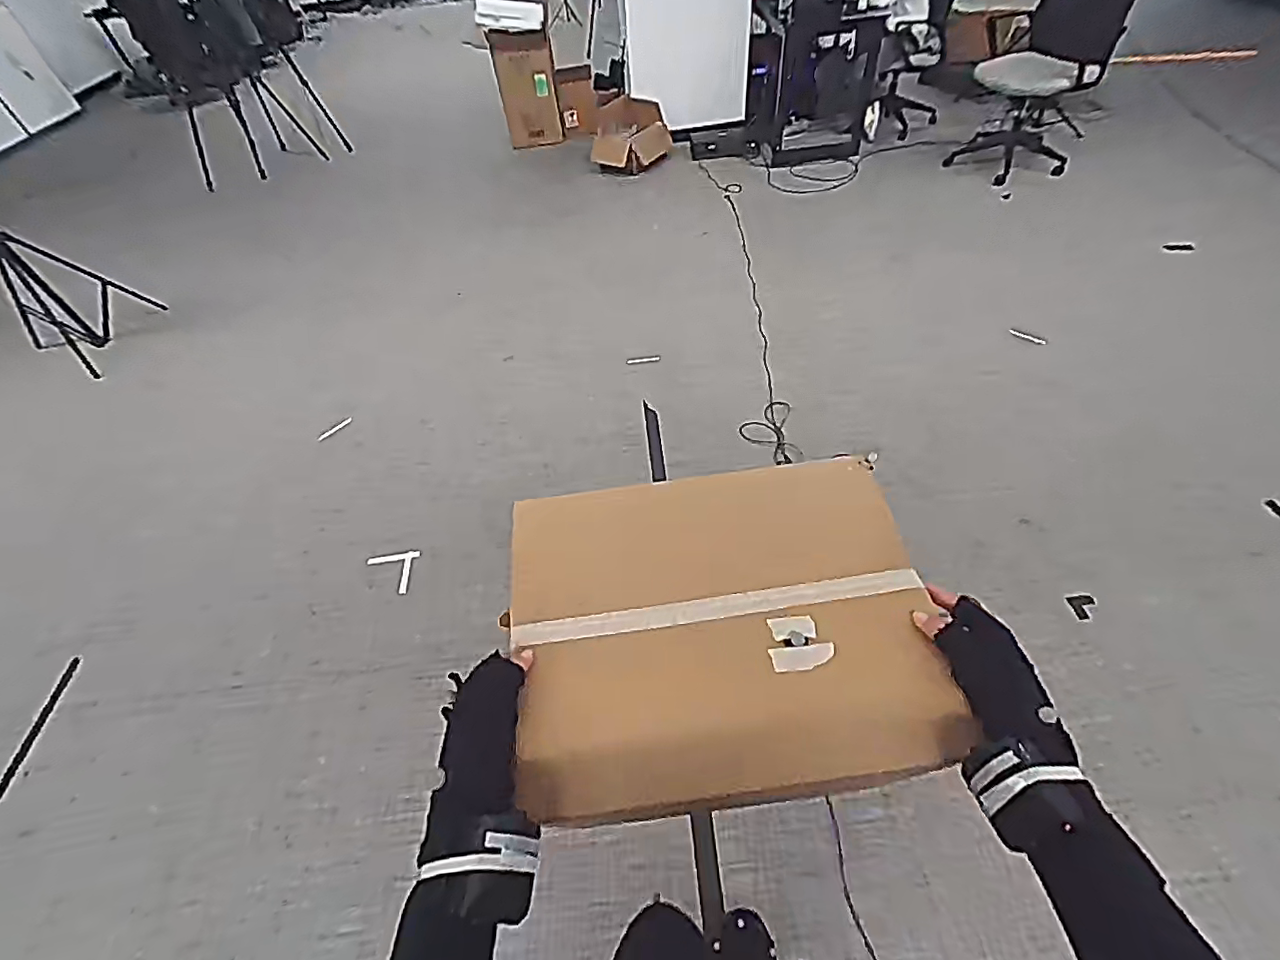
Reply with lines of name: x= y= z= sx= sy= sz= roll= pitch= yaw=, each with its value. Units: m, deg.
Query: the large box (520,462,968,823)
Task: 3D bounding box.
large box: x=0.084 y=0.215 z=0.677 sx=0.408 sy=0.320 sz=0.320 roll=-8 pitch=57 yaw=-1
